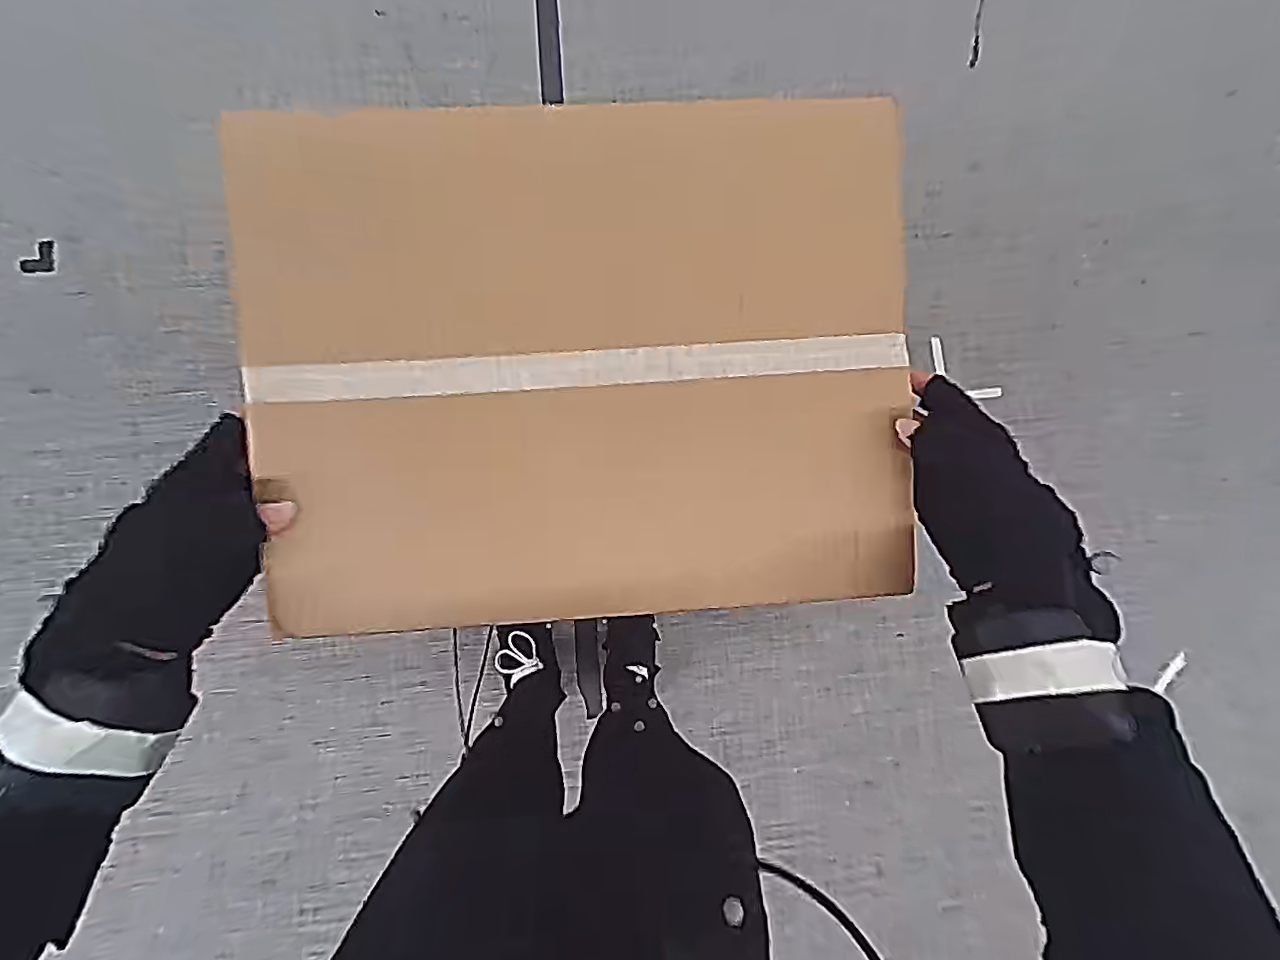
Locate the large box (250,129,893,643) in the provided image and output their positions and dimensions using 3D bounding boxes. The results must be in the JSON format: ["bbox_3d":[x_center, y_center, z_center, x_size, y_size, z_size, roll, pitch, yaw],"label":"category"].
[{"bbox_3d":[-0.040,-0.070,0.500,0.408,0.320,0.320,-4,93,-2],"label":"large box"}]
